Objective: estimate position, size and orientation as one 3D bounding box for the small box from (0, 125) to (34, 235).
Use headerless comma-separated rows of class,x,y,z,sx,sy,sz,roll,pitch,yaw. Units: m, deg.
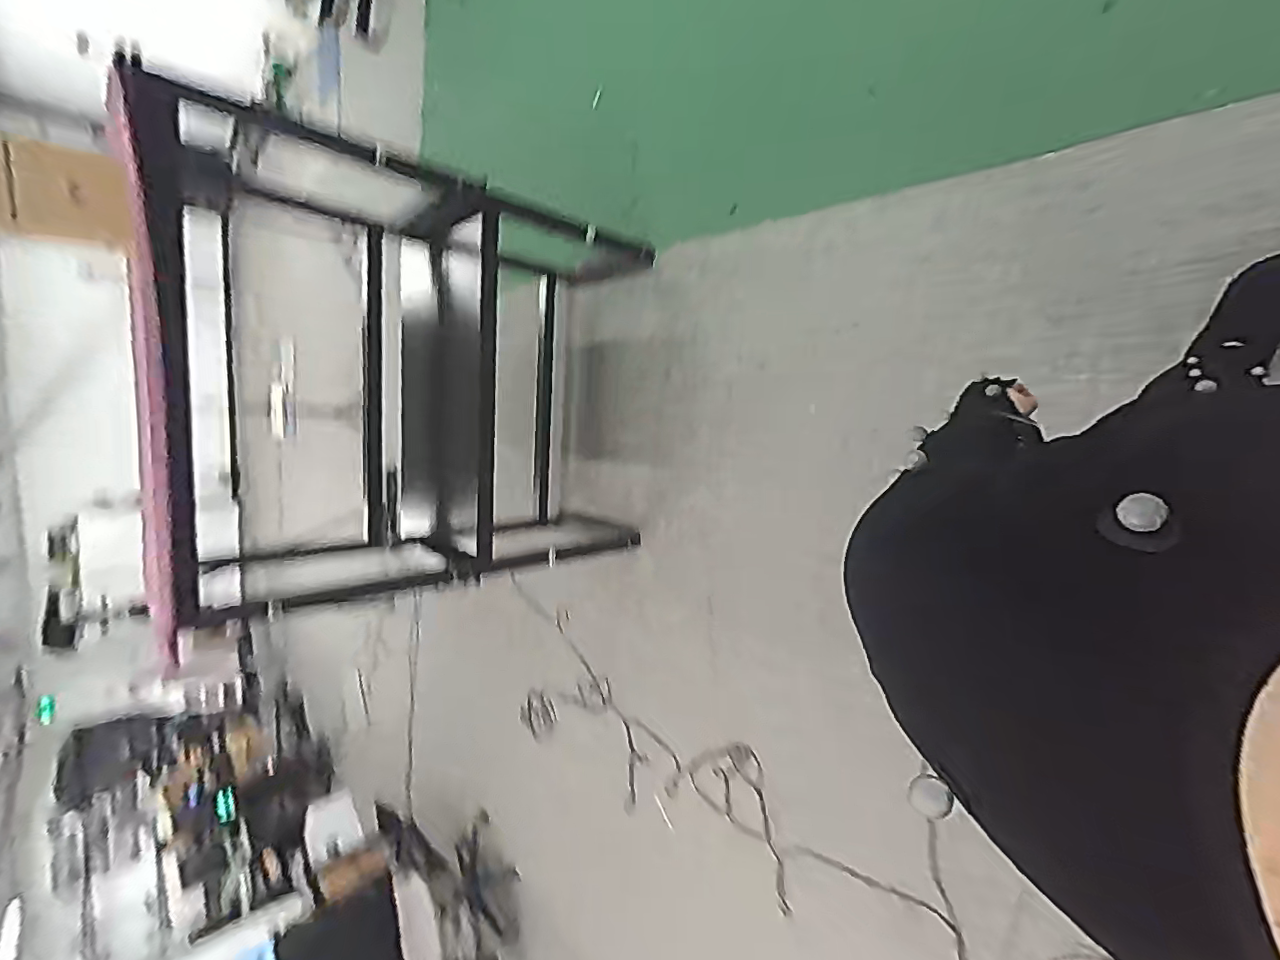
small box,-1.240,-0.556,0.974,0.179,0.176,0.168,13,103,47
